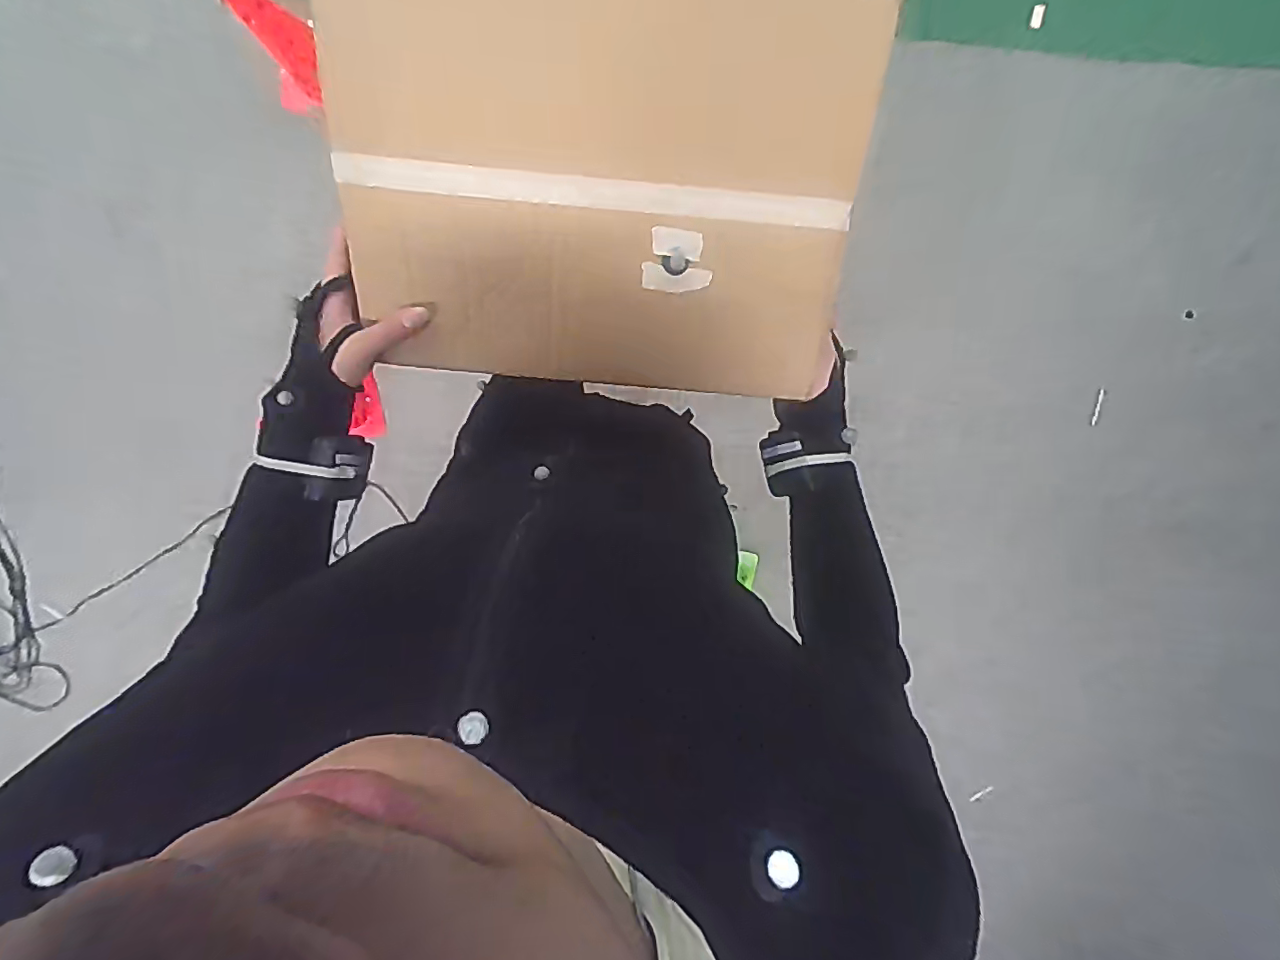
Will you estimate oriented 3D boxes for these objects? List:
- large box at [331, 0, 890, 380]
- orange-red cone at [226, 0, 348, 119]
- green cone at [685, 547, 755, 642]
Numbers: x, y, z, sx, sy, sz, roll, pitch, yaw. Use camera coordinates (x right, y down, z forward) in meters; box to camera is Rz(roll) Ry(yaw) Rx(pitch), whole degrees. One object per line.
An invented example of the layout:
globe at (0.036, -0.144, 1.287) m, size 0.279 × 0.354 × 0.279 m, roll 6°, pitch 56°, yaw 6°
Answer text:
large box at (-0.032, -0.309, 0.566) m, size 0.408 × 0.320 × 0.320 m, roll 4°, pitch 118°, yaw -3°
orange-red cone at (-0.776, -0.964, 1.155) m, size 0.199 × 0.360 × 0.198 m, roll 10°, pitch 104°, yaw -3°
green cone at (0.260, 0.357, 1.544) m, size 0.200 × 0.368 × 0.202 m, roll 8°, pitch 103°, yaw -4°
